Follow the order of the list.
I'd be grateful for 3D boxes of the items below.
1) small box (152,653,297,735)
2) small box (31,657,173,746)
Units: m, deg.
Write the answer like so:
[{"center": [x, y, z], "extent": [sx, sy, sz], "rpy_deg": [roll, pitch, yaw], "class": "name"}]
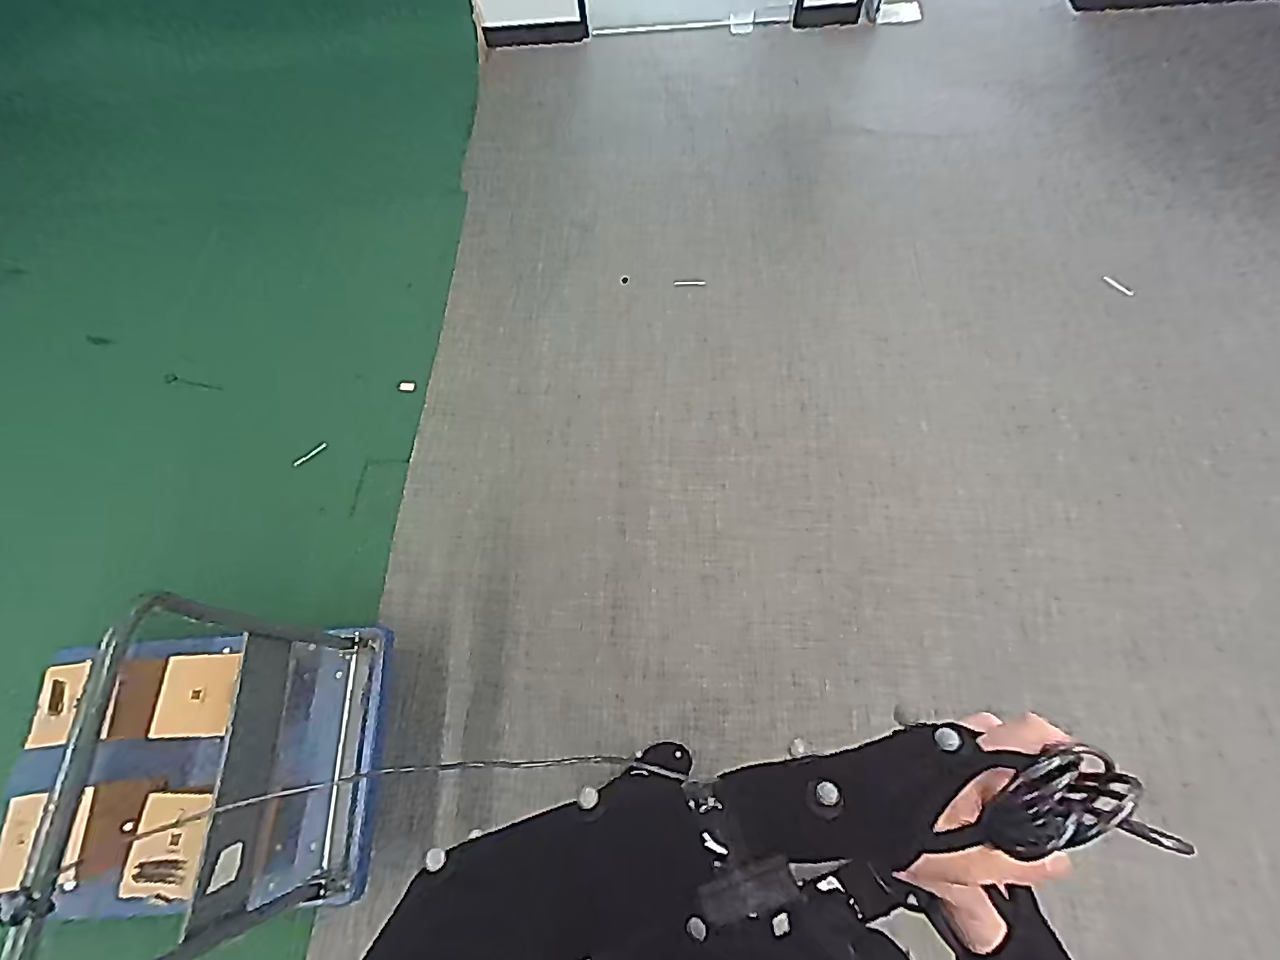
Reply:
[{"center": [-0.932, 0.488, 1.229], "extent": [0.179, 0.176, 0.168], "rpy_deg": [-3, 67, 3], "class": "small box"}, {"center": [-1.201, 0.507, 1.240], "extent": [0.179, 0.176, 0.168], "rpy_deg": [-7, 68, 1], "class": "small box"}]
